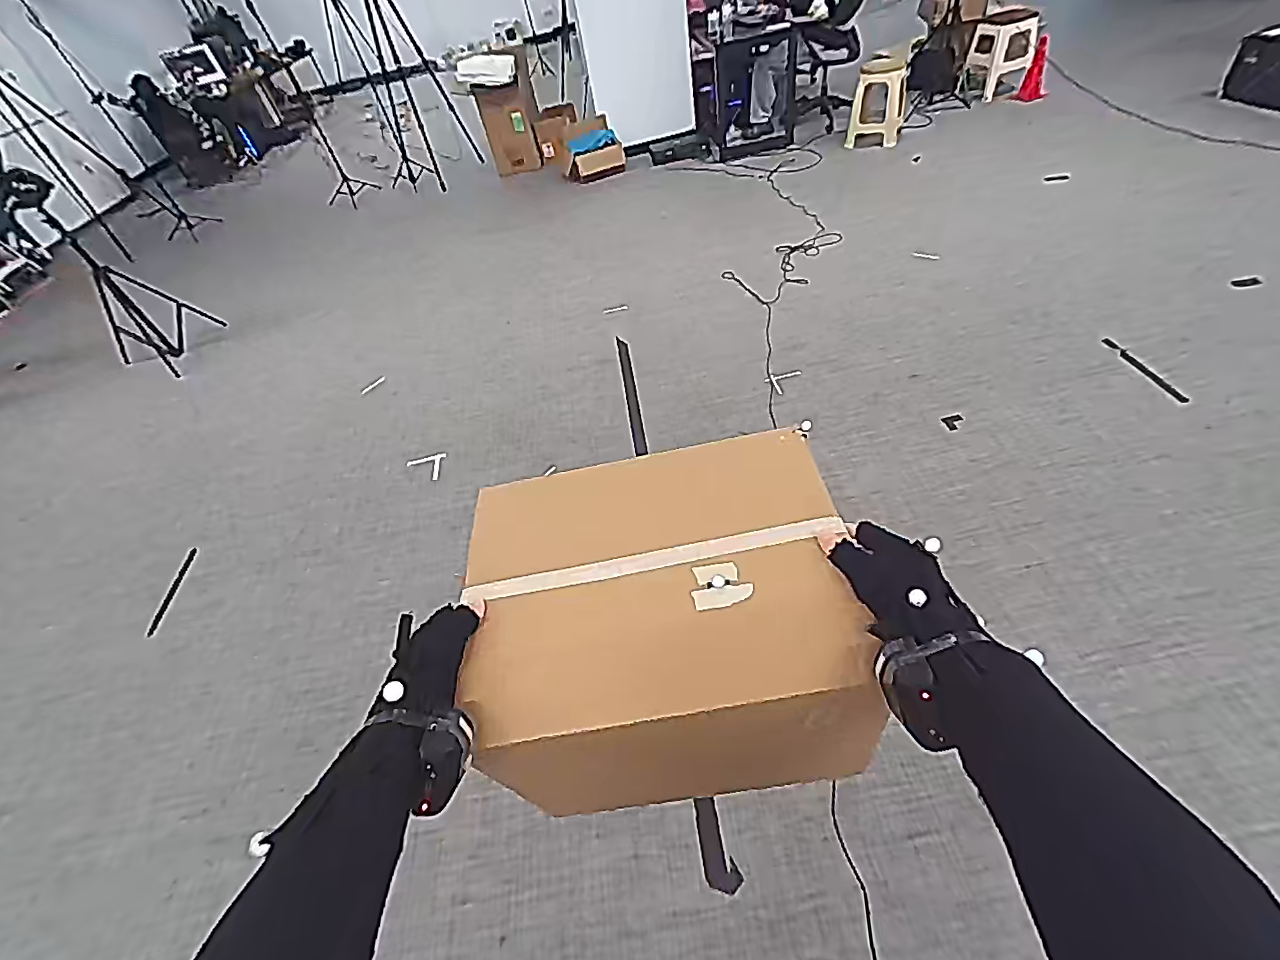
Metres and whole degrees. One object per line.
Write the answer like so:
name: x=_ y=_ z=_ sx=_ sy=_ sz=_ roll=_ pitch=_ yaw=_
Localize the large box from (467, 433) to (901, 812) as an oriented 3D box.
large box: x=0.044 y=0.188 z=0.687 sx=0.408 sy=0.320 sz=0.320 roll=-11 pitch=48 yaw=4
